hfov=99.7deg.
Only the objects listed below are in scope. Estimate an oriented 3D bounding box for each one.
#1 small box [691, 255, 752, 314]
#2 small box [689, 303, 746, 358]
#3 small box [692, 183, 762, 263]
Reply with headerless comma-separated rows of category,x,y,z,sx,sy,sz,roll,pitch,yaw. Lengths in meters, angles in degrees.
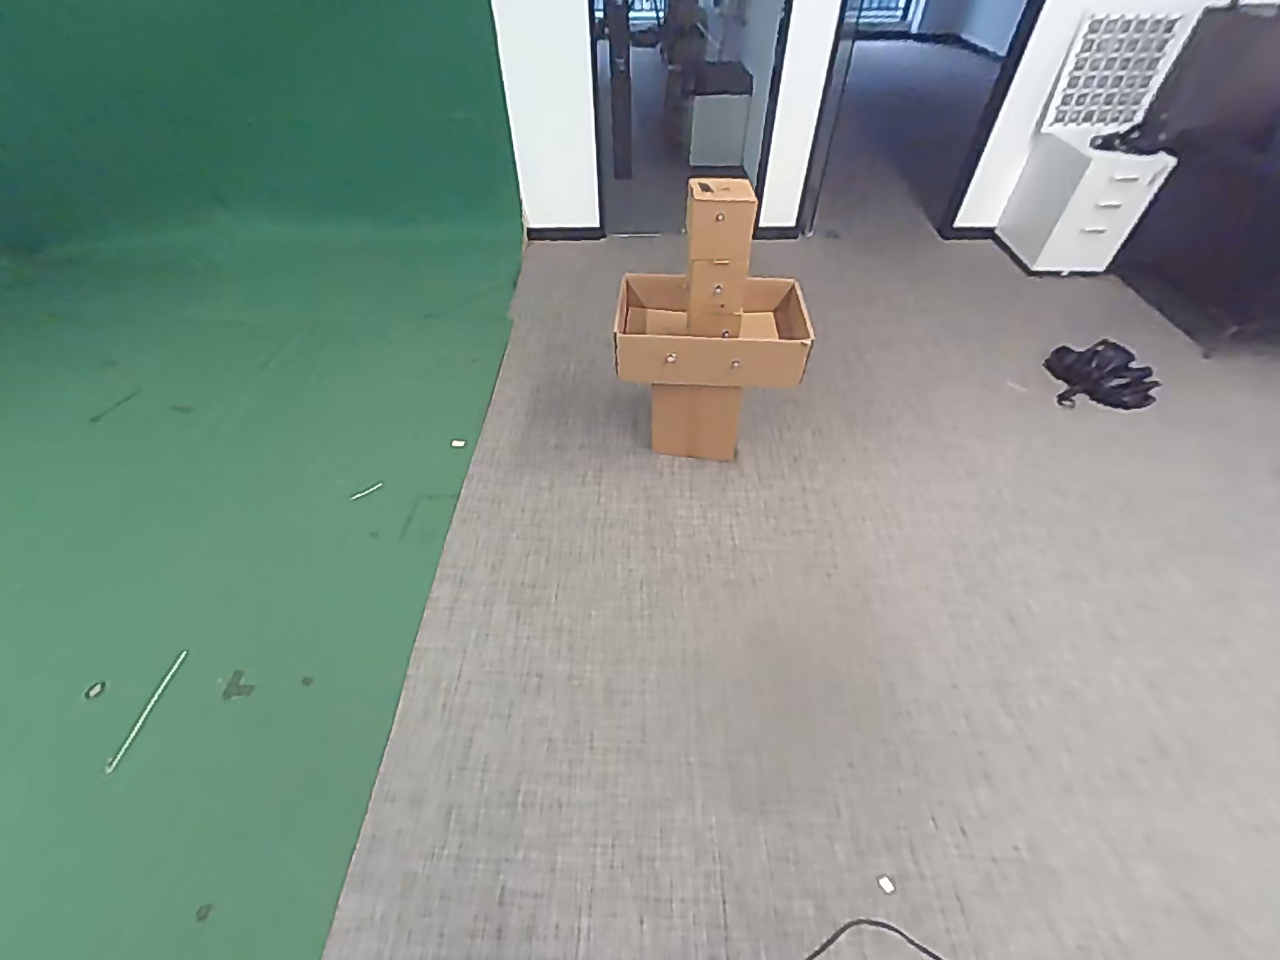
small box,0.250,-0.638,1.701,0.168,0.176,0.179,1,48,0
small box,0.255,-0.524,1.819,0.168,0.176,0.179,1,45,0
small box,0.244,-0.748,1.578,0.179,0.176,0.168,1,47,-1
